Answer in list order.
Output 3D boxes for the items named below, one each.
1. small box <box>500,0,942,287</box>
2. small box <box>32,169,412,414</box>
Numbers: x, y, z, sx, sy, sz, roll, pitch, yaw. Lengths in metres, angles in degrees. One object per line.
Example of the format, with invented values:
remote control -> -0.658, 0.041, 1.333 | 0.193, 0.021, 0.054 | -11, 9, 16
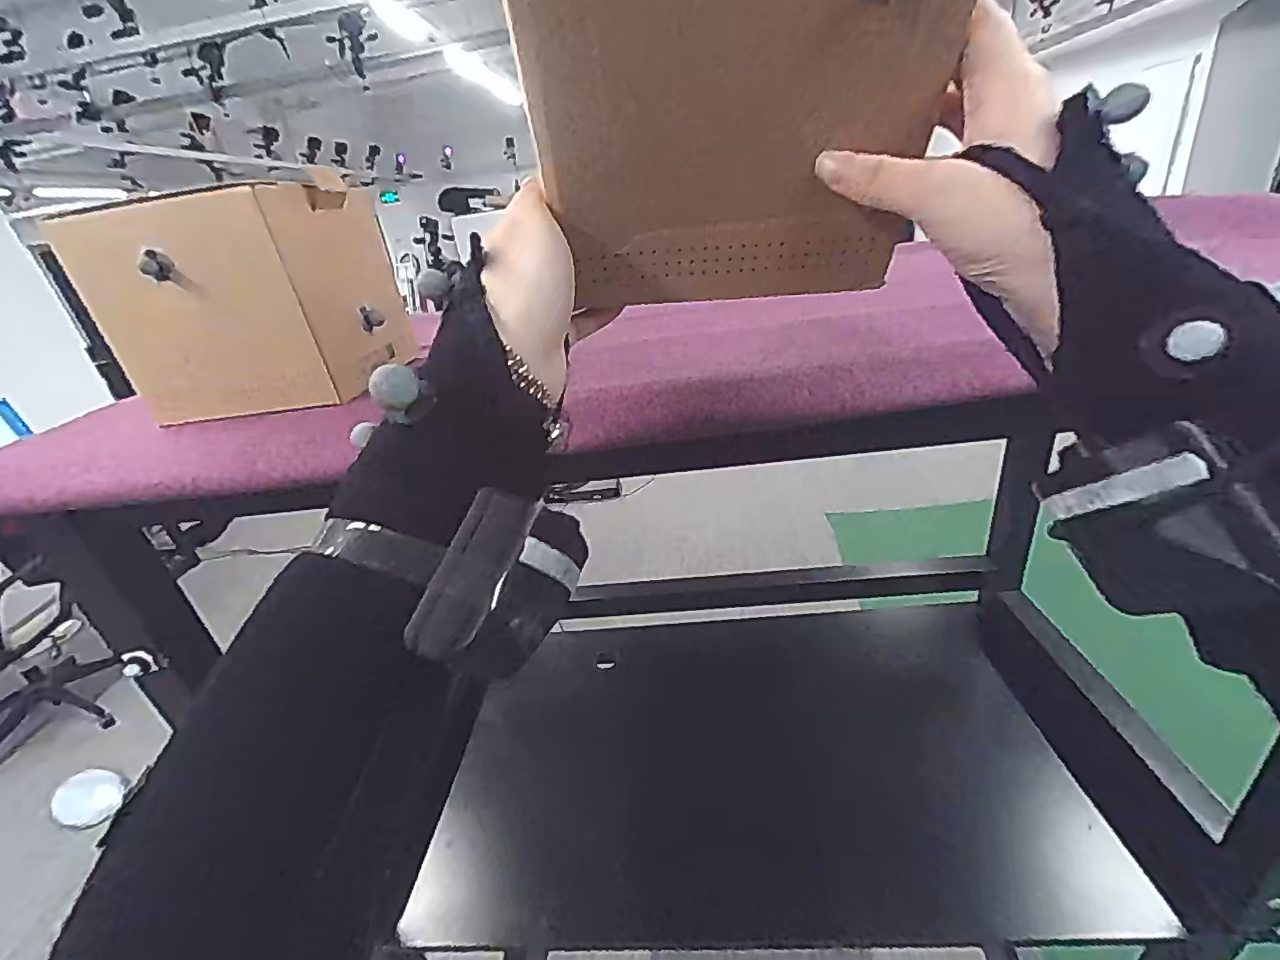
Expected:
small box -> 0.032, -0.214, 0.271 | 0.179, 0.176, 0.168 | -3, 52, 1
small box -> -0.341, -0.166, 0.486 | 0.179, 0.176, 0.168 | -6, 28, 6
